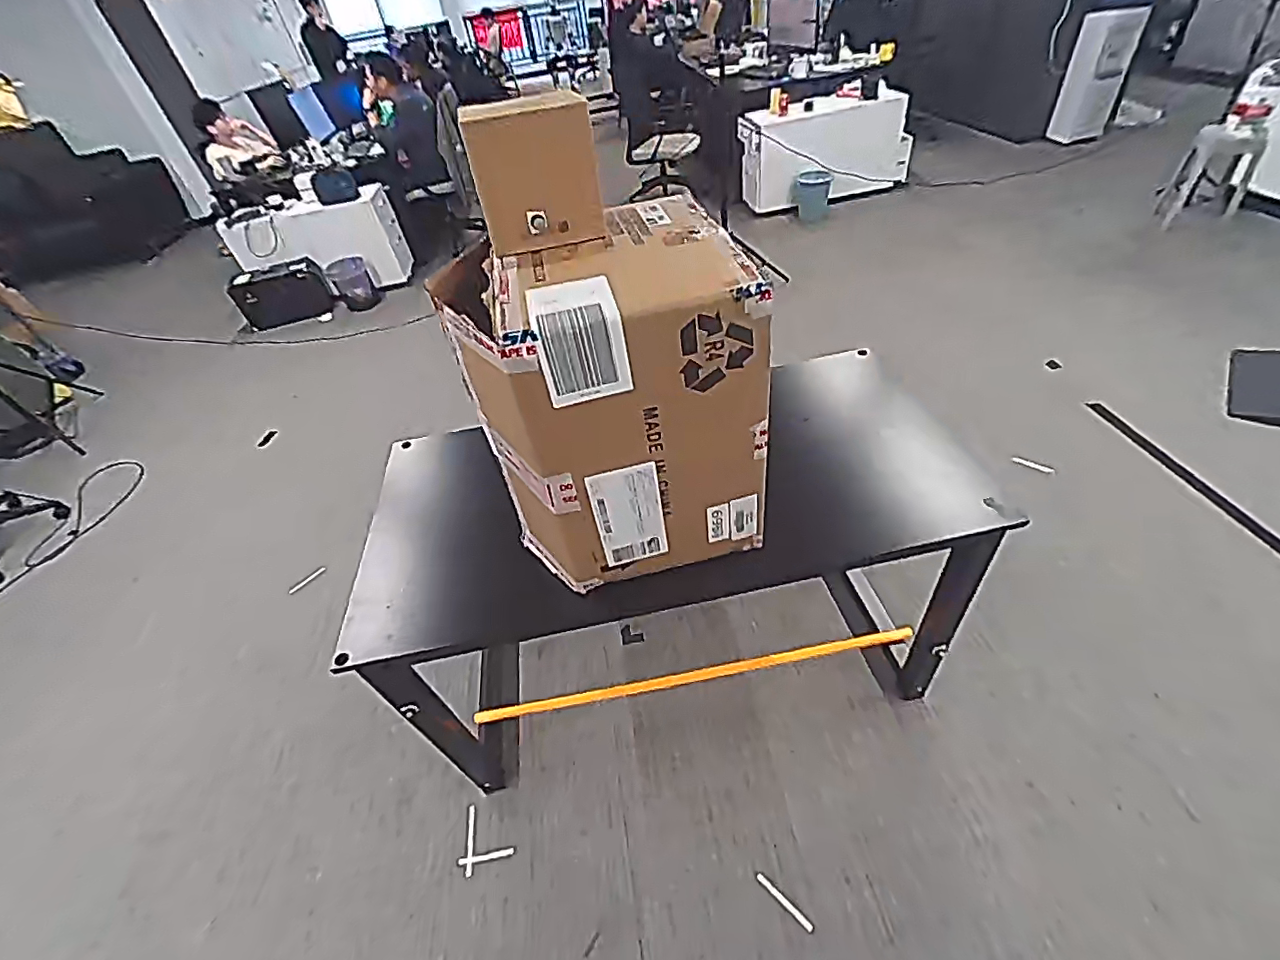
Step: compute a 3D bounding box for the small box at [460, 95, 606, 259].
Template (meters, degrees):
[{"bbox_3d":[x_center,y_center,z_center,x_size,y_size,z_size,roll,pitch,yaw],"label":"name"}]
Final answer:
[{"bbox_3d":[-0.155,-0.443,0.791,0.168,0.176,0.179,-15,42,-6],"label":"small box"}]
